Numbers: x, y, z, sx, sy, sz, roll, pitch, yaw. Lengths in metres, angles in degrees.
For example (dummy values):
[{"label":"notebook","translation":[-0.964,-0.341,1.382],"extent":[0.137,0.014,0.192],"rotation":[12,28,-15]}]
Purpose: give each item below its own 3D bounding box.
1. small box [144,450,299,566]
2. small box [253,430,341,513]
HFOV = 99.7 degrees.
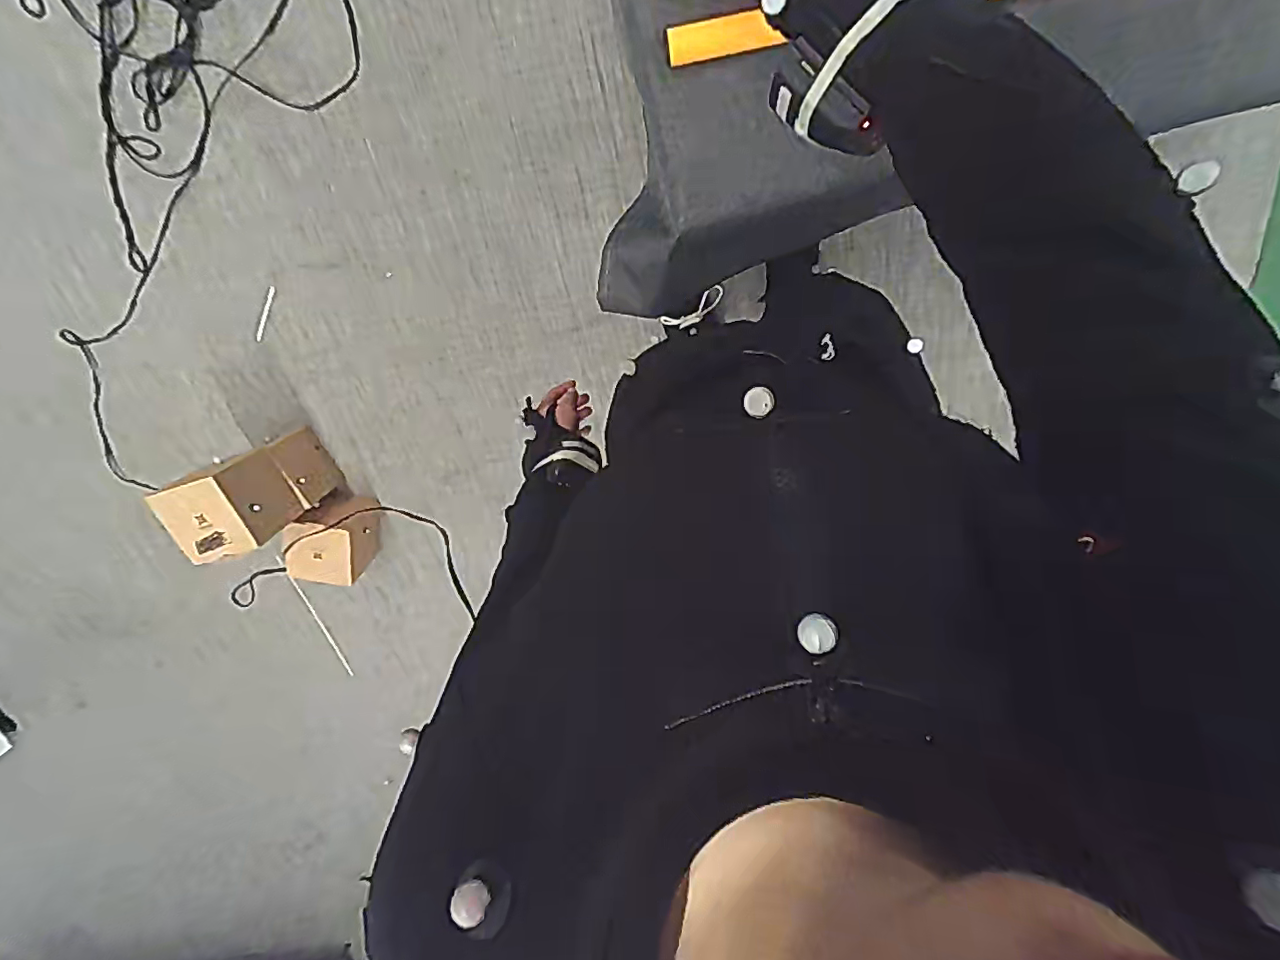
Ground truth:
[{"label":"small box","translation":[-0.903,0.057,1.188],"extent":[0.168,0.176,0.179],"rotation":[-15,113,7]},{"label":"small box","translation":[-0.893,-0.004,1.341],"extent":[0.179,0.176,0.168],"rotation":[-20,112,9]}]
